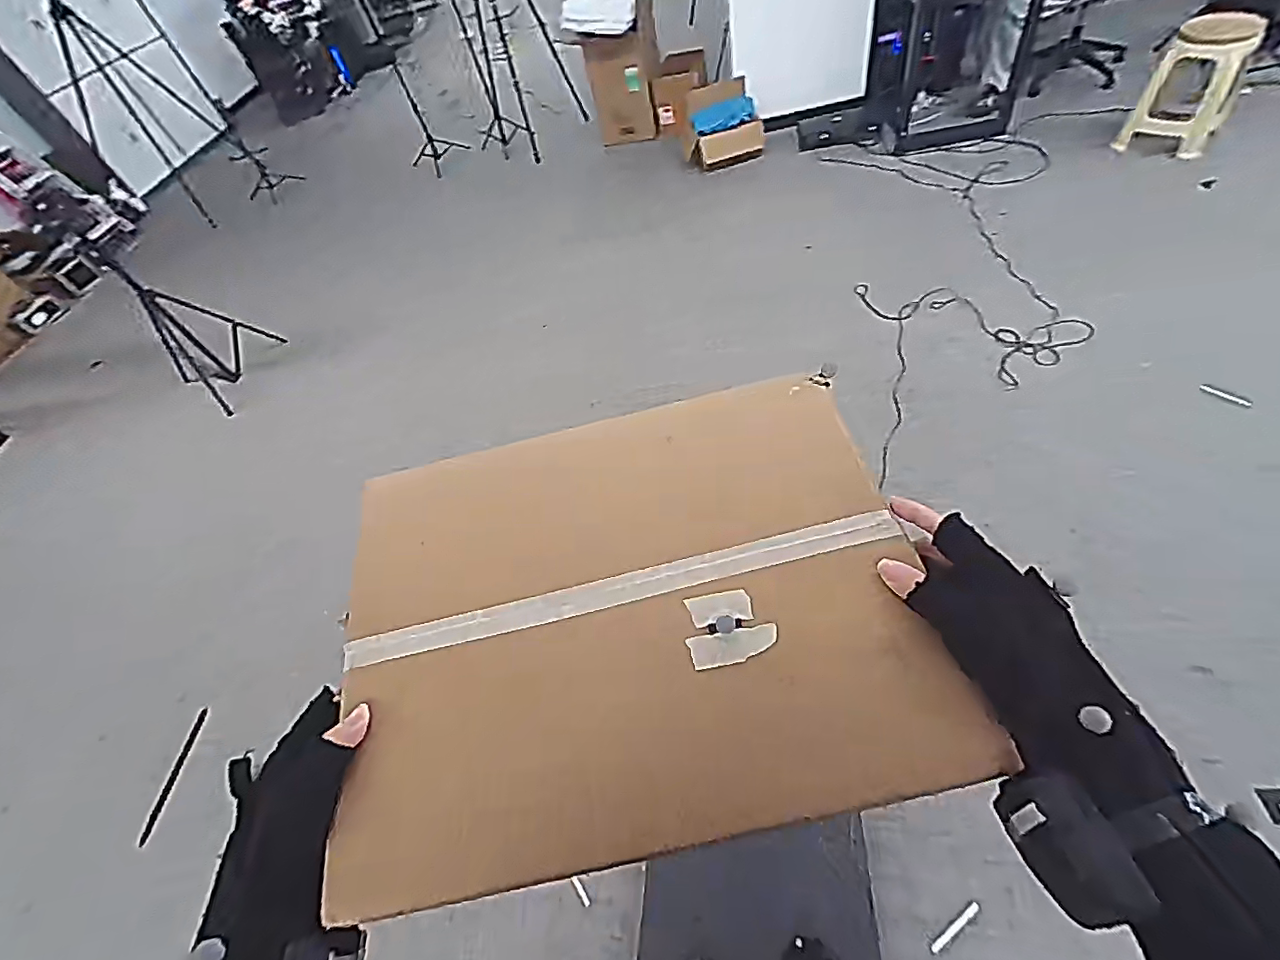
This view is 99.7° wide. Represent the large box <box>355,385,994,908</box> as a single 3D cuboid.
[{"bbox_3d":[0.012,0.165,0.526,0.408,0.320,0.320,-13,57,1],"label":"large box"}]
